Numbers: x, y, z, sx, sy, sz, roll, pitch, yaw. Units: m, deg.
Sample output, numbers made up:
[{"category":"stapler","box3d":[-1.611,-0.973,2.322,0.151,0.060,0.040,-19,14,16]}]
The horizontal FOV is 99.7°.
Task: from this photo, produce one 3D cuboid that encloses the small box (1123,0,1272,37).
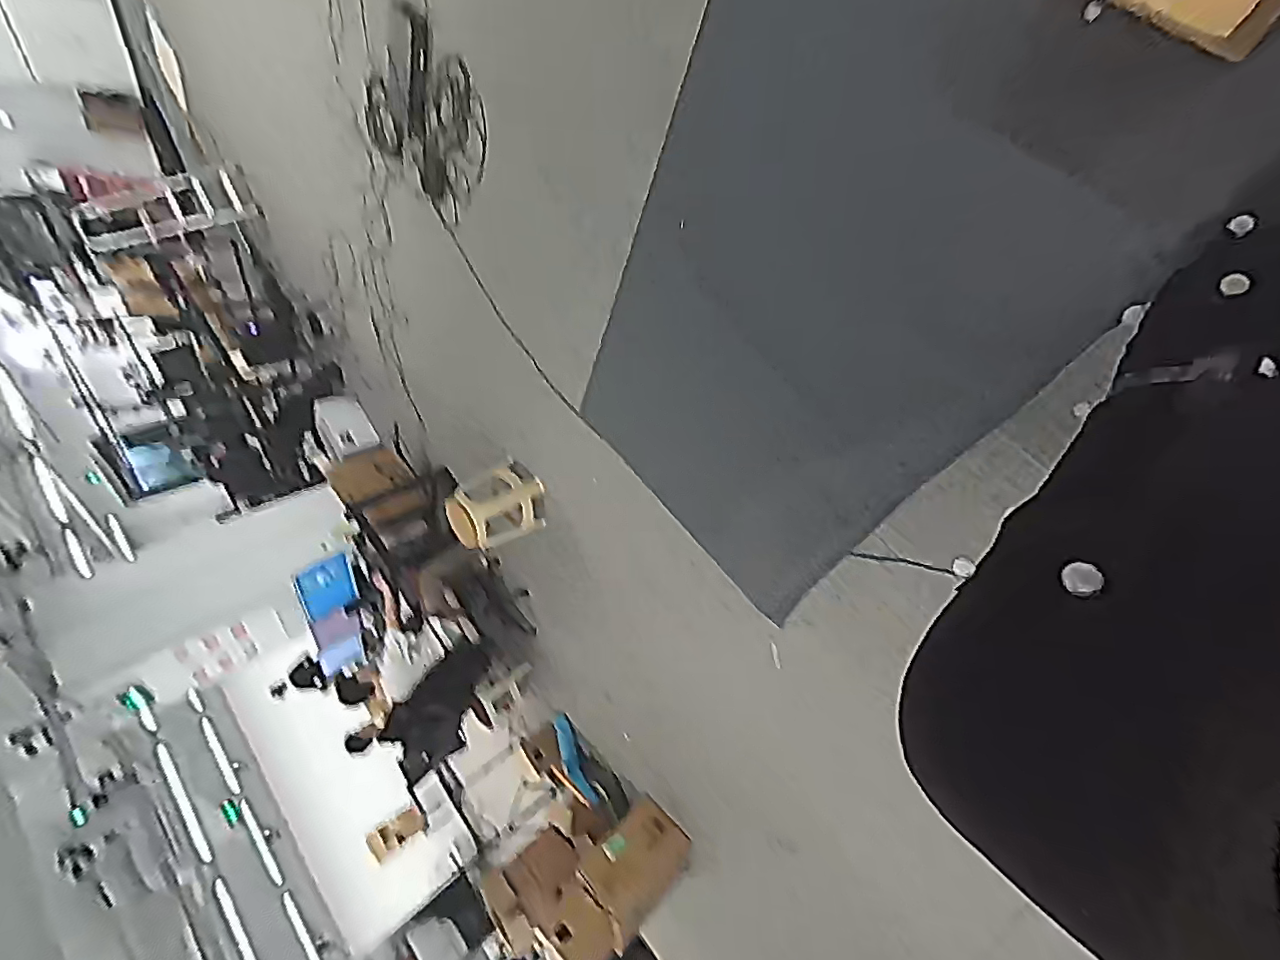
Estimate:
[{"category":"small box","box3d":[0.376,-0.415,0.342,0.179,0.176,0.168,48,143,19]}]
